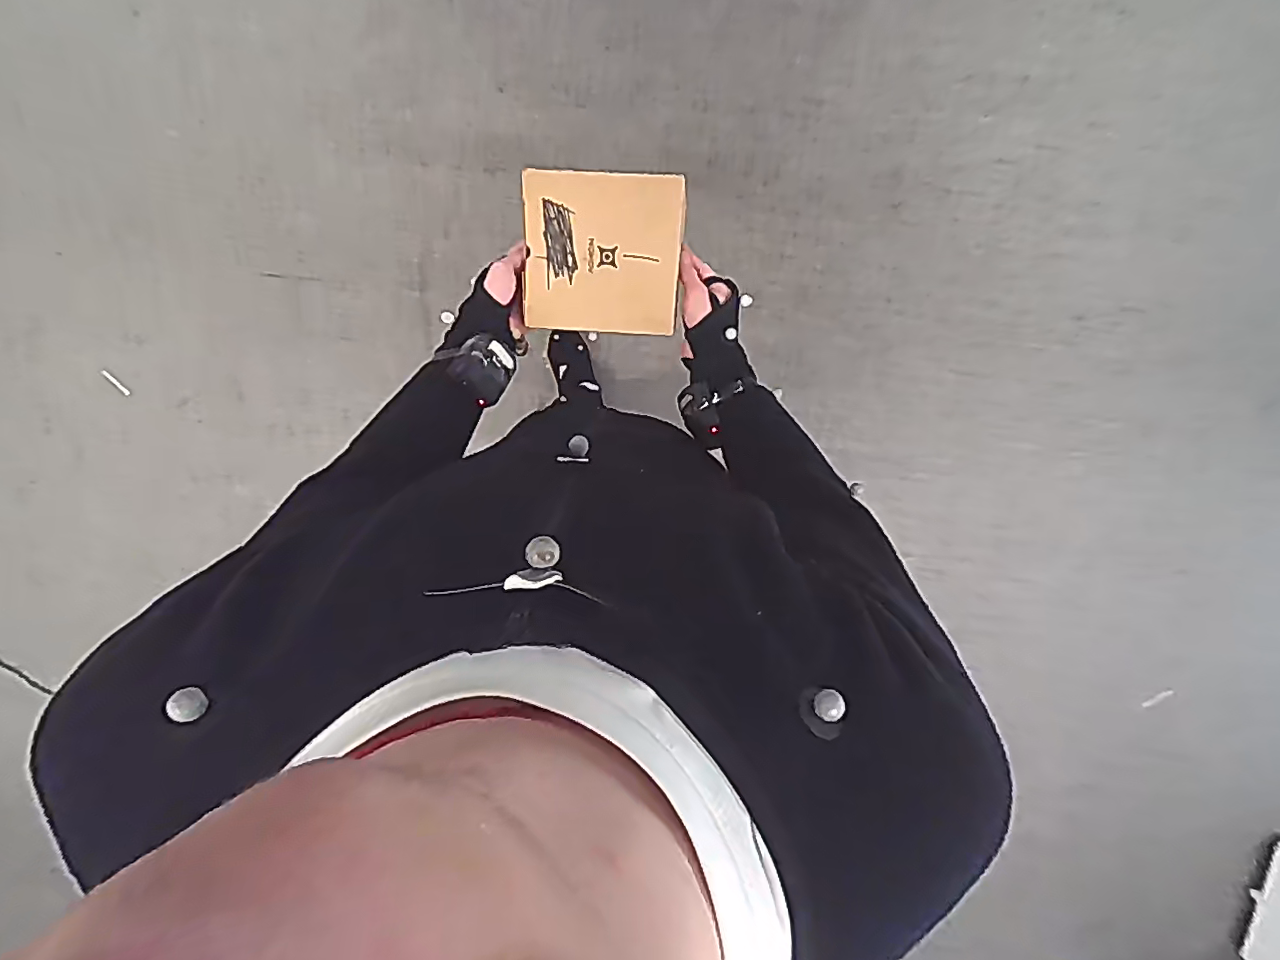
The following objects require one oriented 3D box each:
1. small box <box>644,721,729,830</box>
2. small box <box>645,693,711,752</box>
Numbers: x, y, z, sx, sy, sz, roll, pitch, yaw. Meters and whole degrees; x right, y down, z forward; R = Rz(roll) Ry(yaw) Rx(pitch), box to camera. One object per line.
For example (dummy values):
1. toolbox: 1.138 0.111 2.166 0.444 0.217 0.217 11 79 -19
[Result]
1. small box: 0.116 0.772 1.430 0.179 0.176 0.168 18 100 -3
2. small box: 0.120 0.755 1.584 0.179 0.176 0.168 -17 100 2
